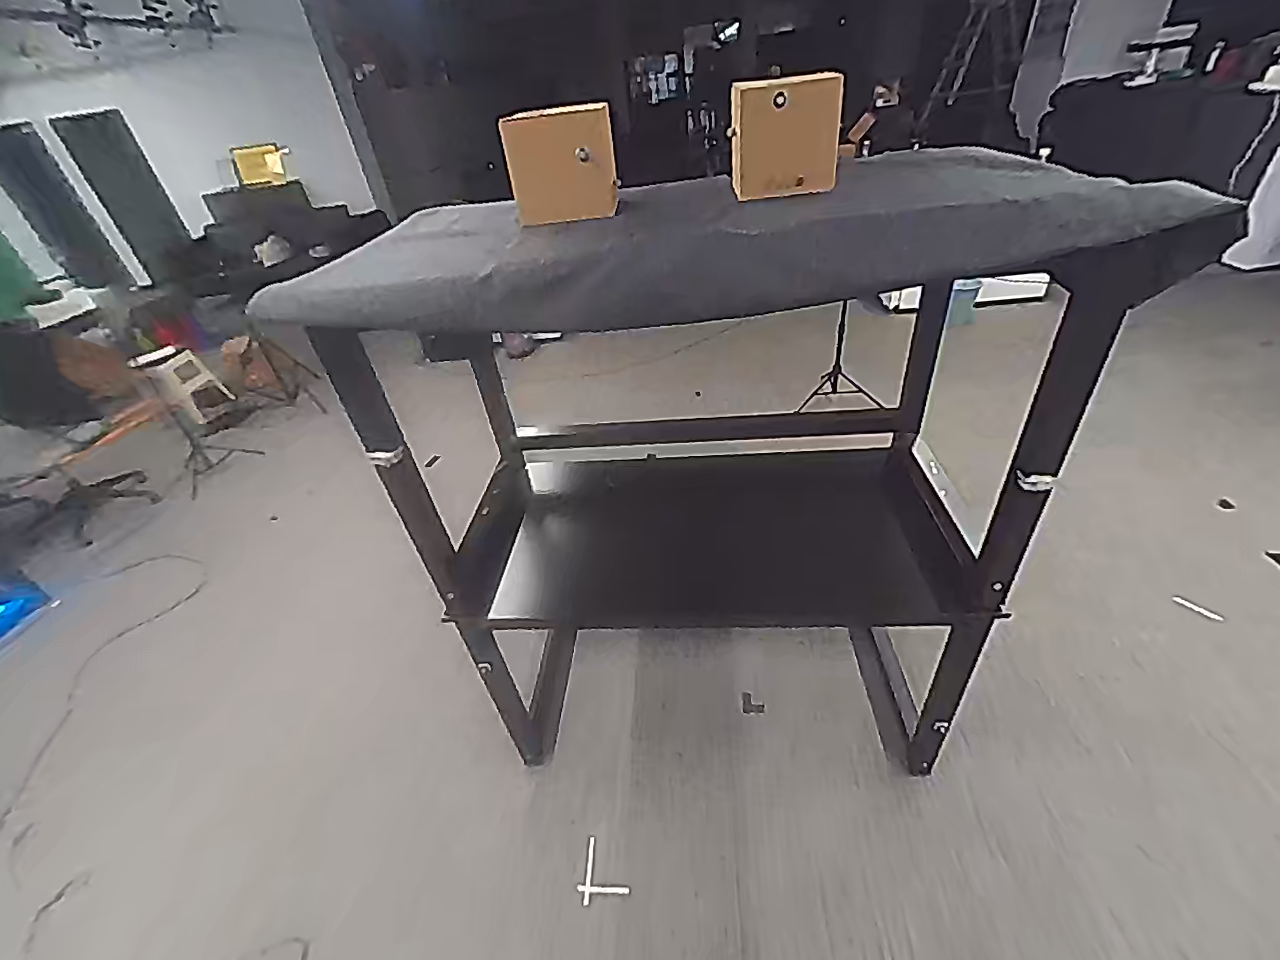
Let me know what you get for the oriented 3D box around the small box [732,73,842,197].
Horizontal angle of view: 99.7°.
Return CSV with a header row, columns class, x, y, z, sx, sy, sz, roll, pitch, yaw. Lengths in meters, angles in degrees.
class,x,y,z,sx,sy,sz,roll,pitch,yaw
small box,0.256,-0.622,0.981,0.168,0.176,0.179,-3,36,7
